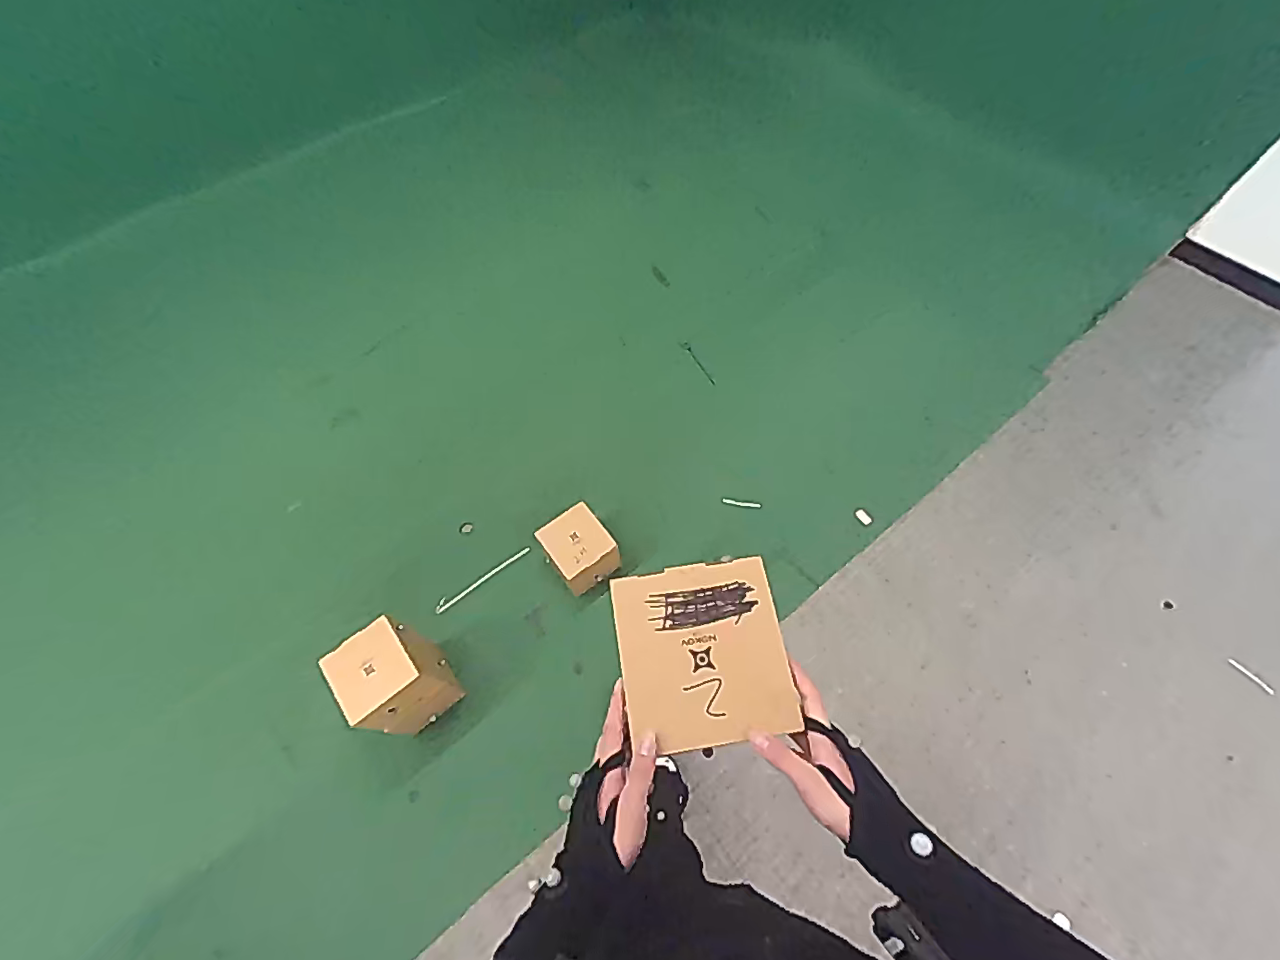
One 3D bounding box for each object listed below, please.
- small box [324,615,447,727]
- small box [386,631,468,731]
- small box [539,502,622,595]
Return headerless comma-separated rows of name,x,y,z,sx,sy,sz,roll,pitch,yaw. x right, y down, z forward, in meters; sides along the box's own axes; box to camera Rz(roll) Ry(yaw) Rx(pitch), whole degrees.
small box,-0.582,0.448,1.257,0.168,0.176,0.179,-37,66,-15
small box,-0.578,0.526,1.398,0.168,0.176,0.179,-36,67,-15
small box,-0.166,0.201,1.557,0.168,0.176,0.179,-34,66,-15
